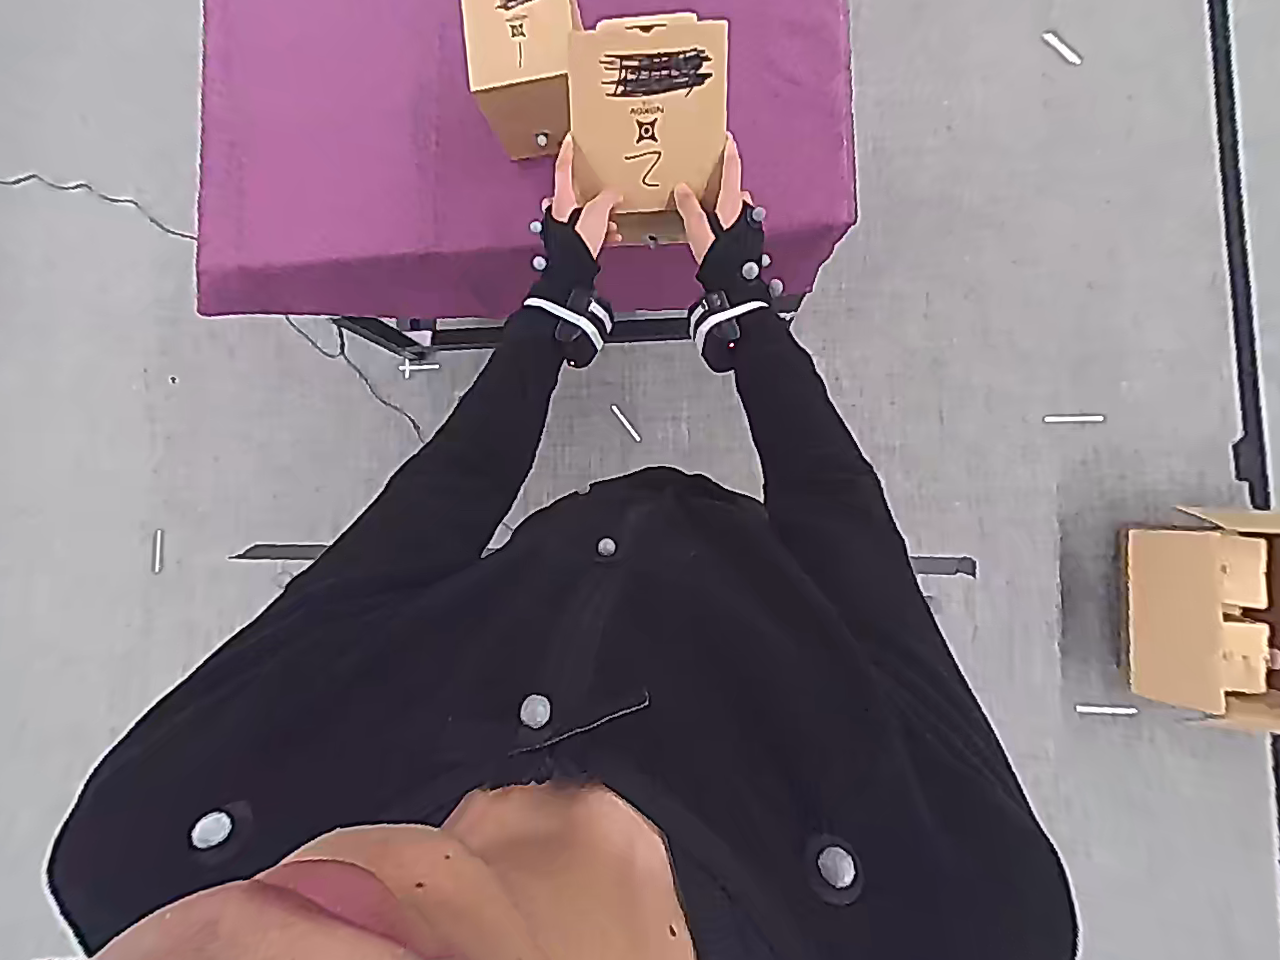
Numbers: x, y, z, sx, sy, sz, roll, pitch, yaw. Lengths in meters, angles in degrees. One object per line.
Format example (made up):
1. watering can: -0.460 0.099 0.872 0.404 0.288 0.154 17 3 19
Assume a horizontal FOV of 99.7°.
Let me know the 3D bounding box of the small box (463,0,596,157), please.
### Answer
1. small box: -0.173 -0.672 0.884 0.168 0.176 0.179 -6 87 6
